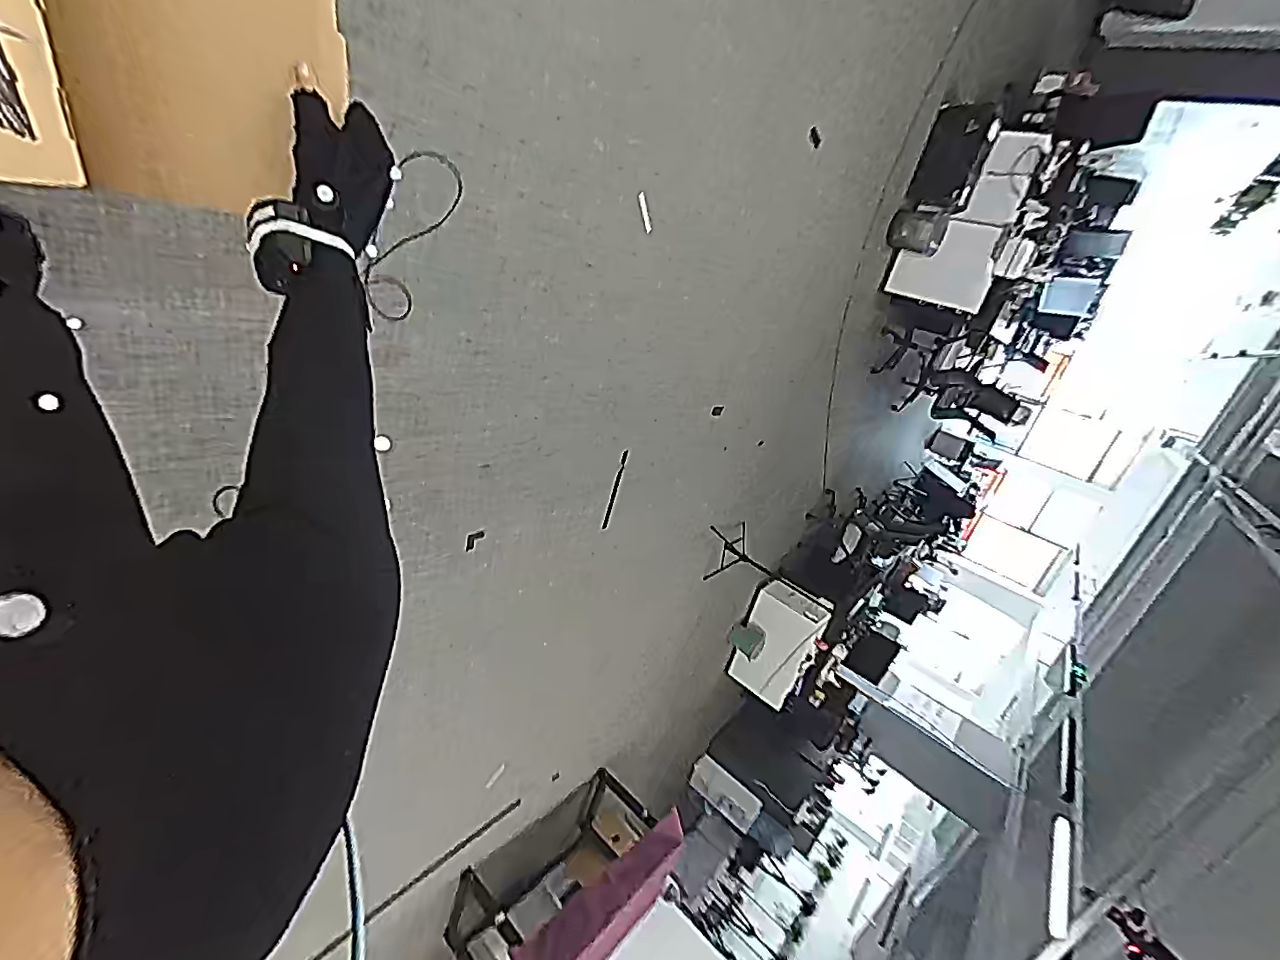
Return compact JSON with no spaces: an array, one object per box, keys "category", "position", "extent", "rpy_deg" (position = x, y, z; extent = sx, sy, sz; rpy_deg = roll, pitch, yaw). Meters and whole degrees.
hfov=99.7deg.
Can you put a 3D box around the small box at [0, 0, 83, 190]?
[{"category":"small box","position":[-0.511,-0.285,0.320],"extent":[0.179,0.176,0.168],"rpy_deg":[-47,151,-60]}]
